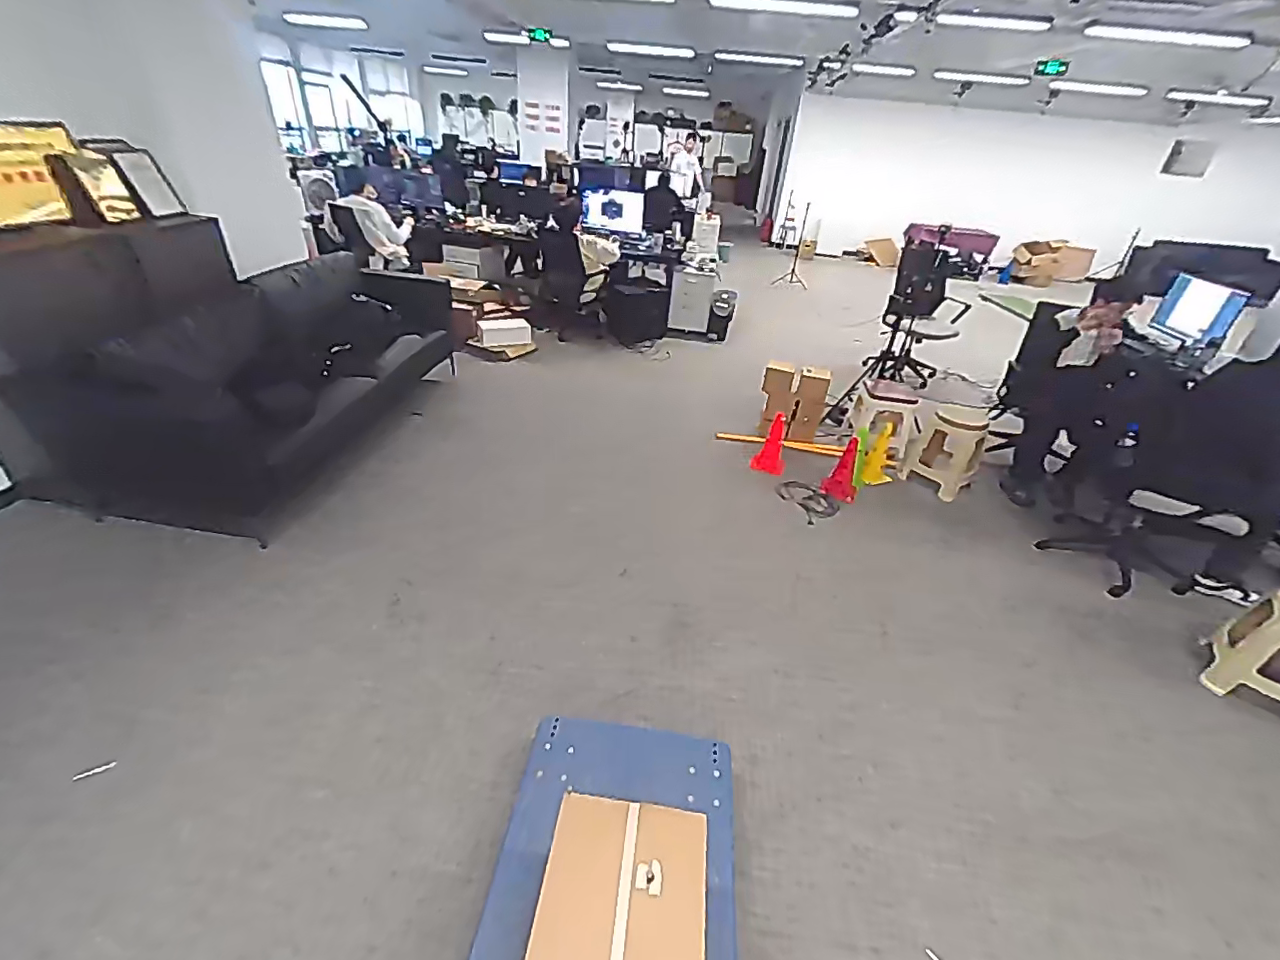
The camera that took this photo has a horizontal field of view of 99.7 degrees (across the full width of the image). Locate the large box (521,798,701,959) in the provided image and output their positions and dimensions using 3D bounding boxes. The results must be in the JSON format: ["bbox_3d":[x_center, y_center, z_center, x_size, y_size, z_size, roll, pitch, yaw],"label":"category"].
[{"bbox_3d":[-0.053,0.932,1.071,0.320,0.320,0.408,8,31,3],"label":"large box"}]
